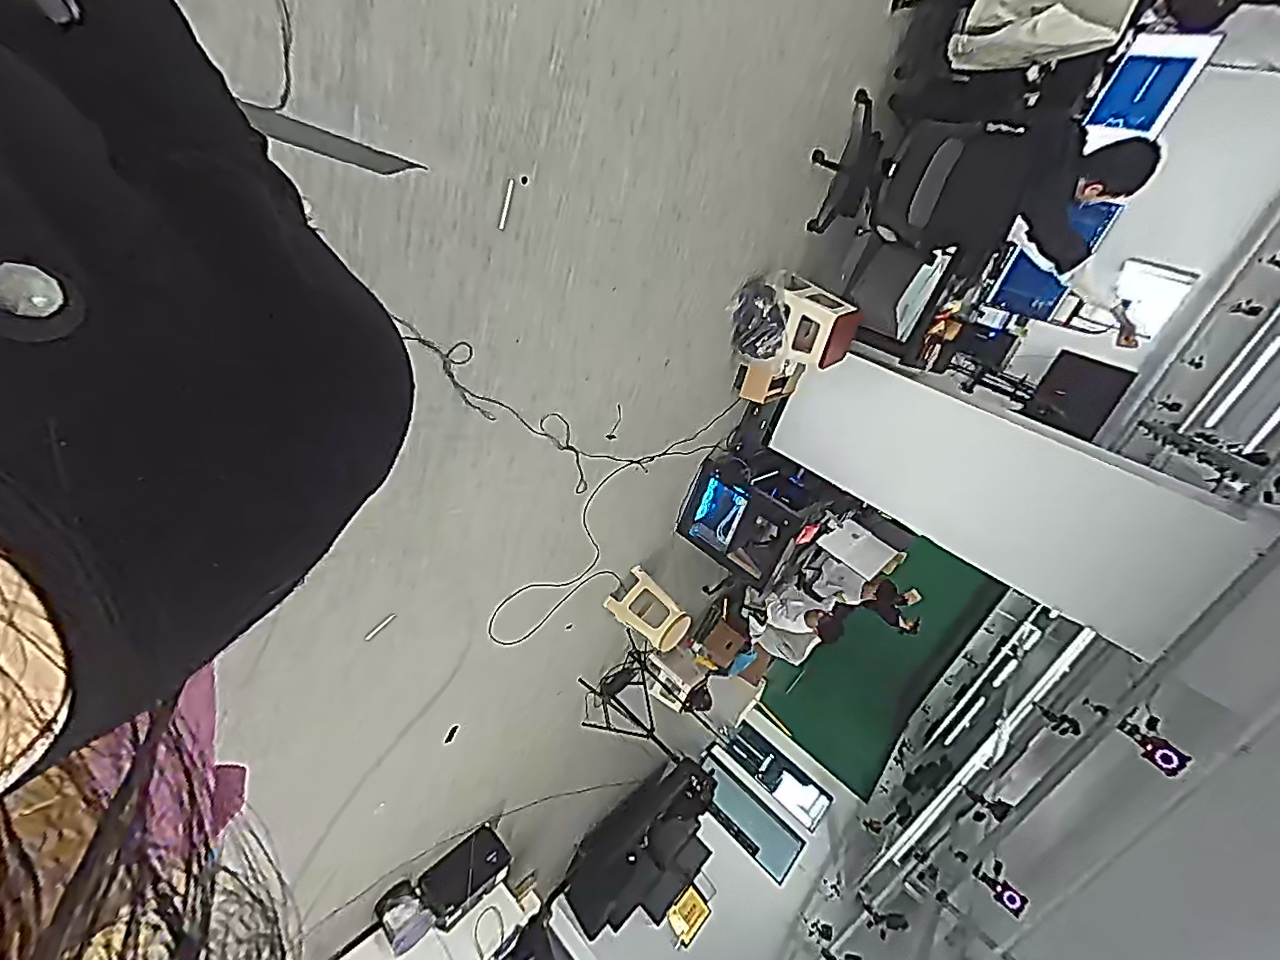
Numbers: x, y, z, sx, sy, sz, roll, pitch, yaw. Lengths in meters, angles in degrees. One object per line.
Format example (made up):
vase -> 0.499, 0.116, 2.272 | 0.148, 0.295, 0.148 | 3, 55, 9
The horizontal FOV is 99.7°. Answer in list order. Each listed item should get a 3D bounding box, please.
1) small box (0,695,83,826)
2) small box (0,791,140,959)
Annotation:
small box -> -0.777, 0.396, 0.636 | 0.168, 0.176, 0.179 | -16, 132, -50
small box -> -0.660, 0.478, 0.559 | 0.179, 0.176, 0.168 | -18, 136, -49
